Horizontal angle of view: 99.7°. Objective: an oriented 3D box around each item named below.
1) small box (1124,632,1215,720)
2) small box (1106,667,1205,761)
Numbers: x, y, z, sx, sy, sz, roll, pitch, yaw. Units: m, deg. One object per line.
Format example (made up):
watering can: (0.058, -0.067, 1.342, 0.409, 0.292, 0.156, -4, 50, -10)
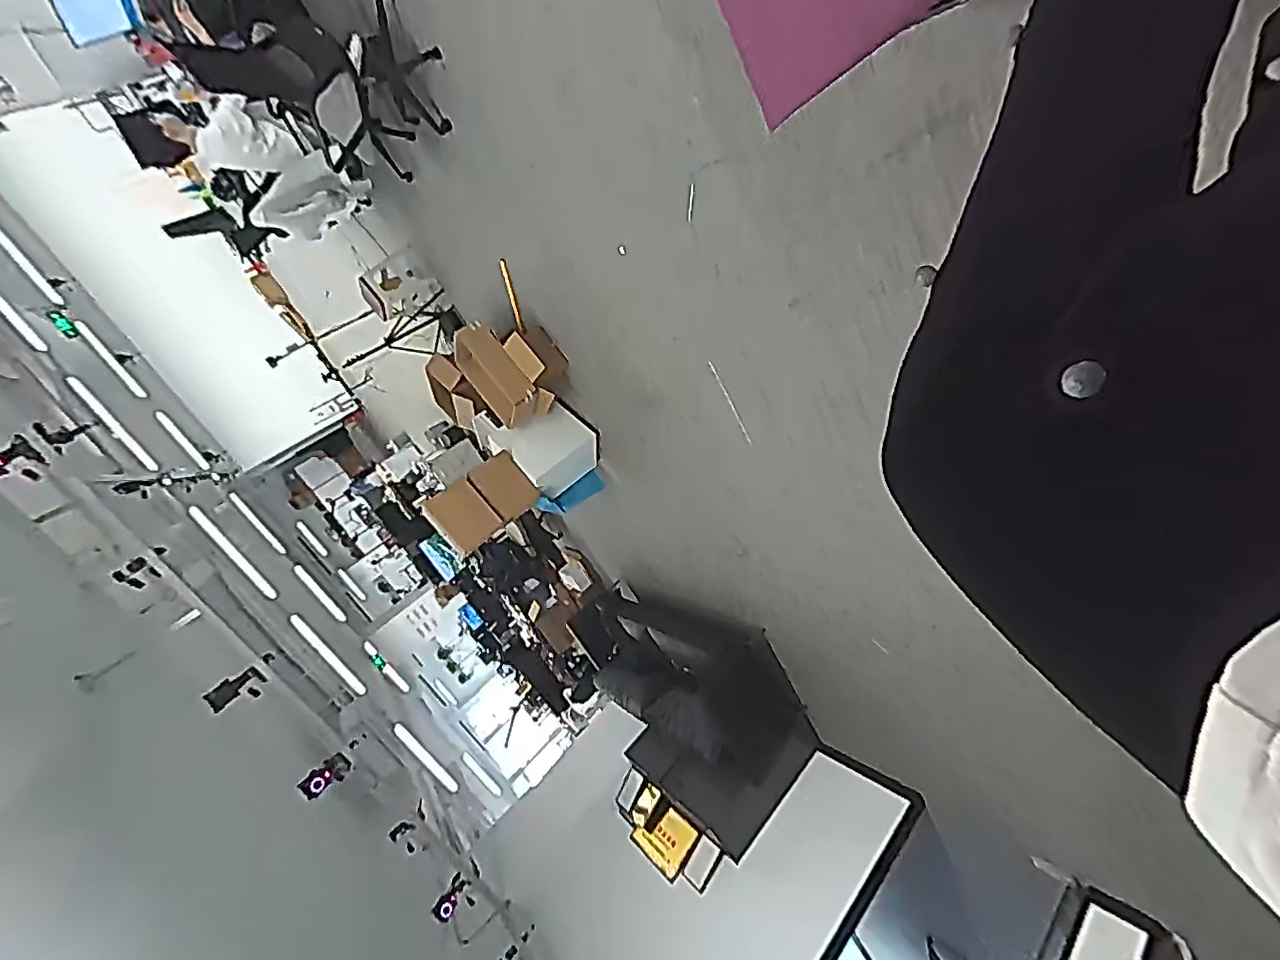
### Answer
small box: (1.670, 0.607, 1.701, 0.179, 0.176, 0.168, 4, 129, 57)
small box: (1.554, 0.694, 1.630, 0.179, 0.176, 0.168, 2, 126, 56)
